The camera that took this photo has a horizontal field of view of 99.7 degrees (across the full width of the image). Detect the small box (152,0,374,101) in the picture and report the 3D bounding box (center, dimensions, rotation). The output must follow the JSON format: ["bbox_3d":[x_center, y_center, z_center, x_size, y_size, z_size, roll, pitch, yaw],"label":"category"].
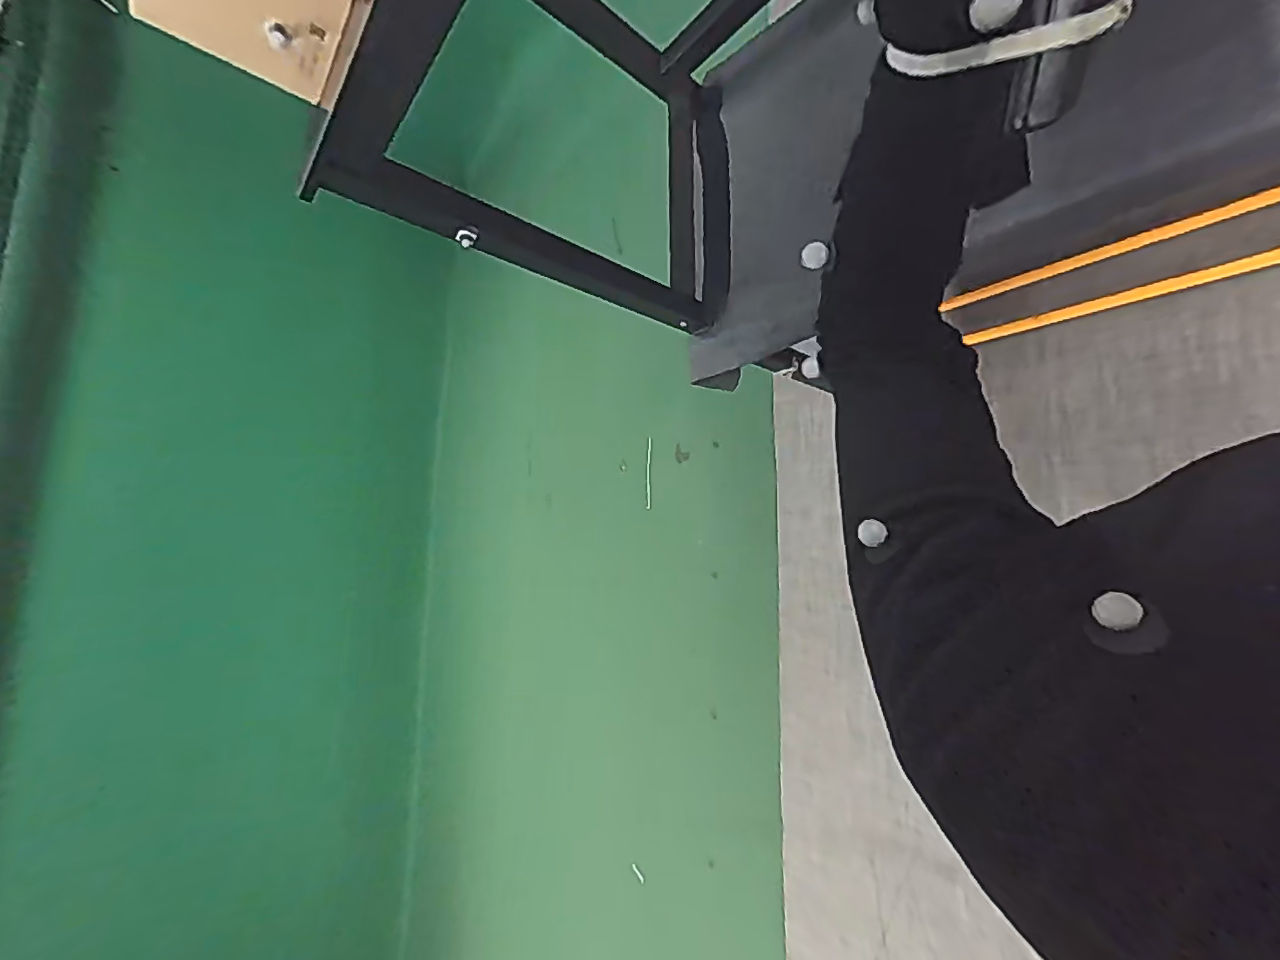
[{"bbox_3d":[-0.380,-0.552,0.557,0.168,0.176,0.179,-12,76,49],"label":"small box"}]
